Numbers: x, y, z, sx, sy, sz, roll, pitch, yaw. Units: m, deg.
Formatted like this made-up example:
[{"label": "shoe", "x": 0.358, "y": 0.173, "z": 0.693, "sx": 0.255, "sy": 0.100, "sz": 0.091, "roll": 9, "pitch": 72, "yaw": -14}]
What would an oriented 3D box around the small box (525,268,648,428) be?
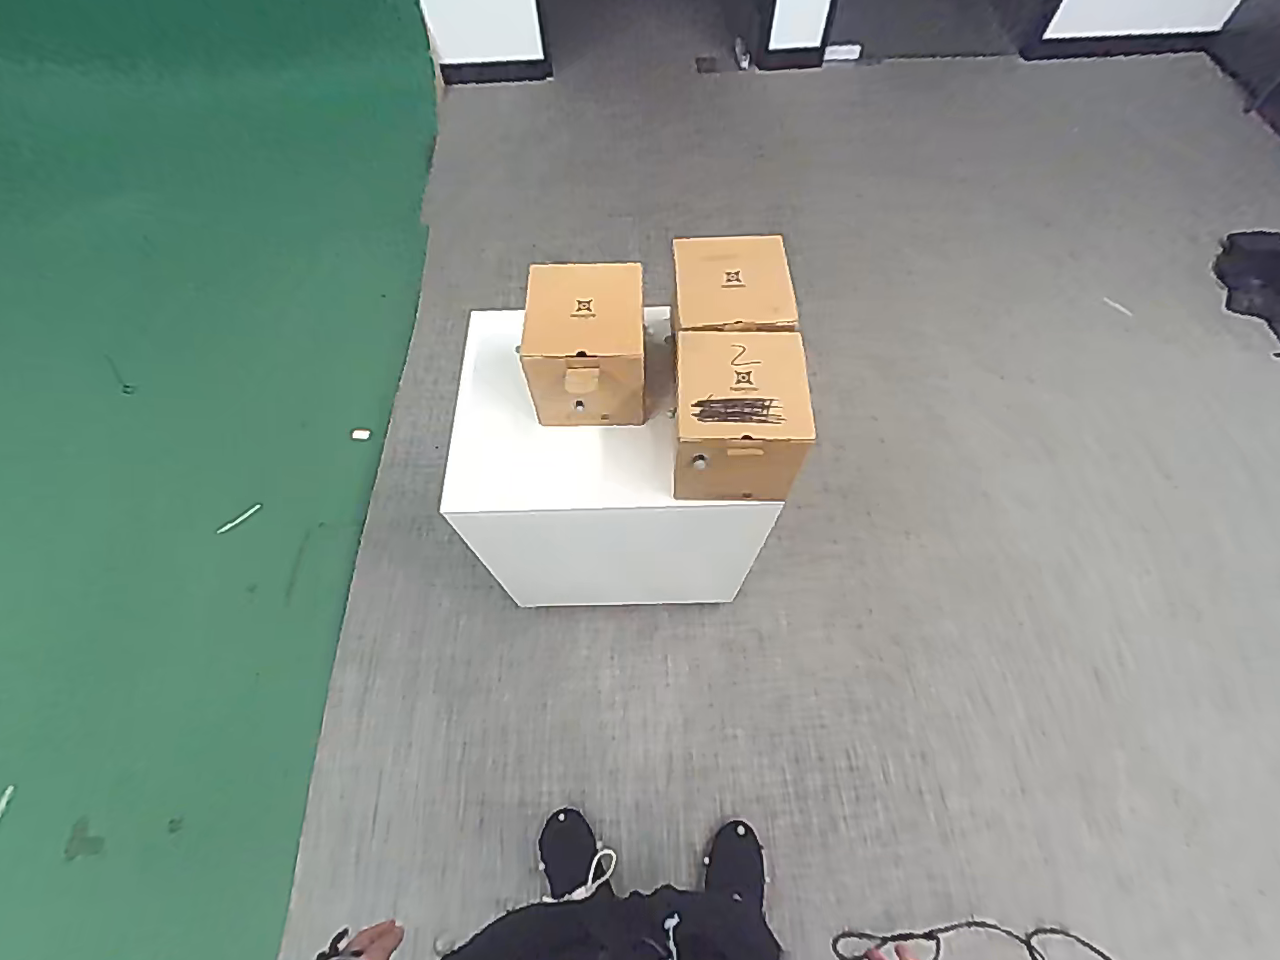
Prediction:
[{"label": "small box", "x": -0.071, "y": -0.197, "z": 0.824, "sx": 0.168, "sy": 0.176, "sz": 0.179, "roll": -1, "pitch": 63, "yaw": 0}]
